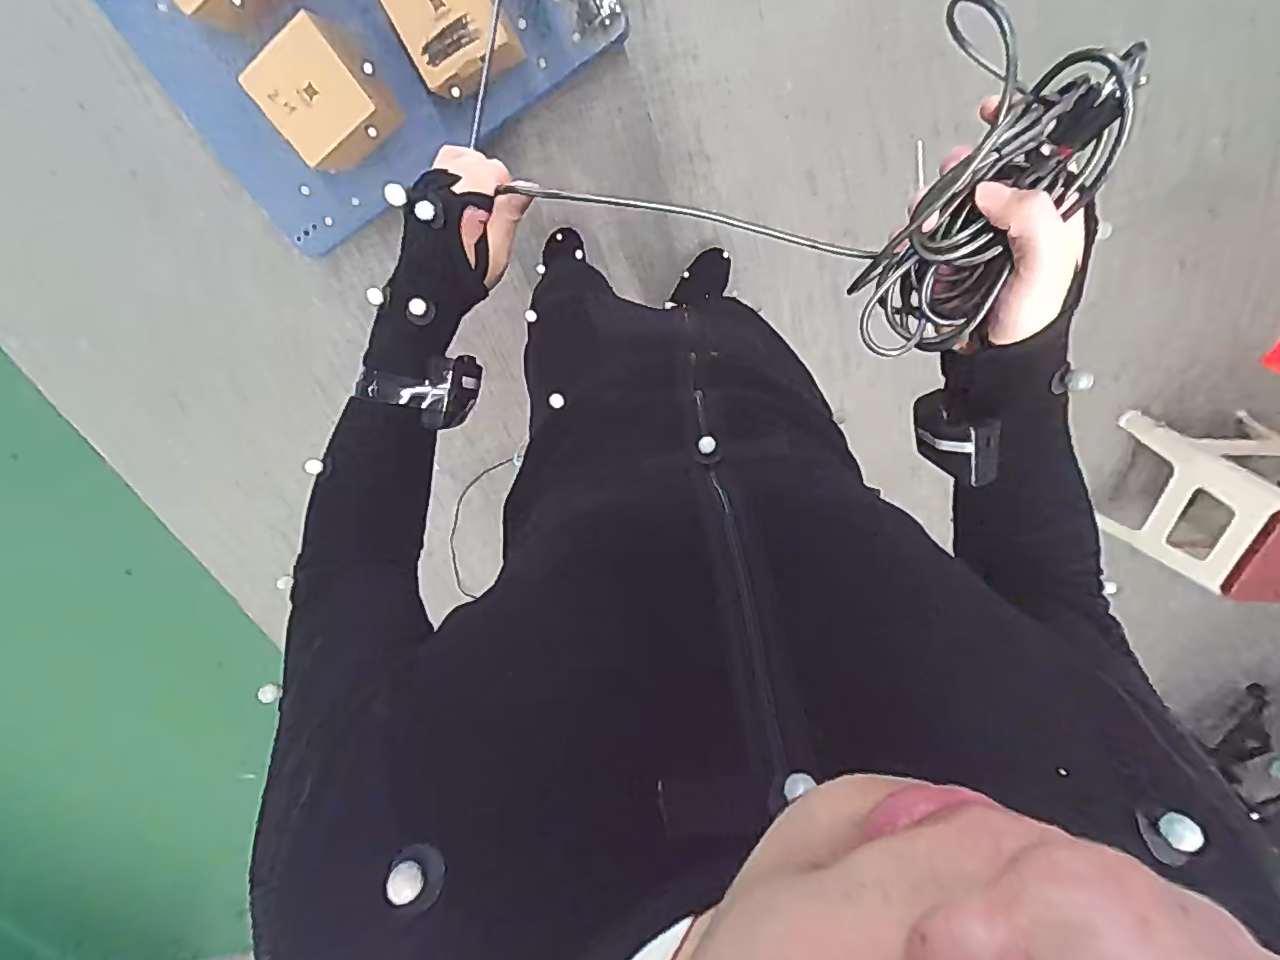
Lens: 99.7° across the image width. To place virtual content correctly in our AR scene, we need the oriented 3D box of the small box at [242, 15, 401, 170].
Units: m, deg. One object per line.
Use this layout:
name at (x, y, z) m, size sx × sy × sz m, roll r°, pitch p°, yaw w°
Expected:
small box at (-0.585, -0.721, 1.027) m, size 0.179 × 0.176 × 0.168 m, roll -29°, pitch 115°, yaw 16°

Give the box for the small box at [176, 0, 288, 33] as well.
small box at (-0.719, -0.910, 0.917) m, size 0.179 × 0.176 × 0.168 m, roll -28°, pitch 117°, yaw 15°
